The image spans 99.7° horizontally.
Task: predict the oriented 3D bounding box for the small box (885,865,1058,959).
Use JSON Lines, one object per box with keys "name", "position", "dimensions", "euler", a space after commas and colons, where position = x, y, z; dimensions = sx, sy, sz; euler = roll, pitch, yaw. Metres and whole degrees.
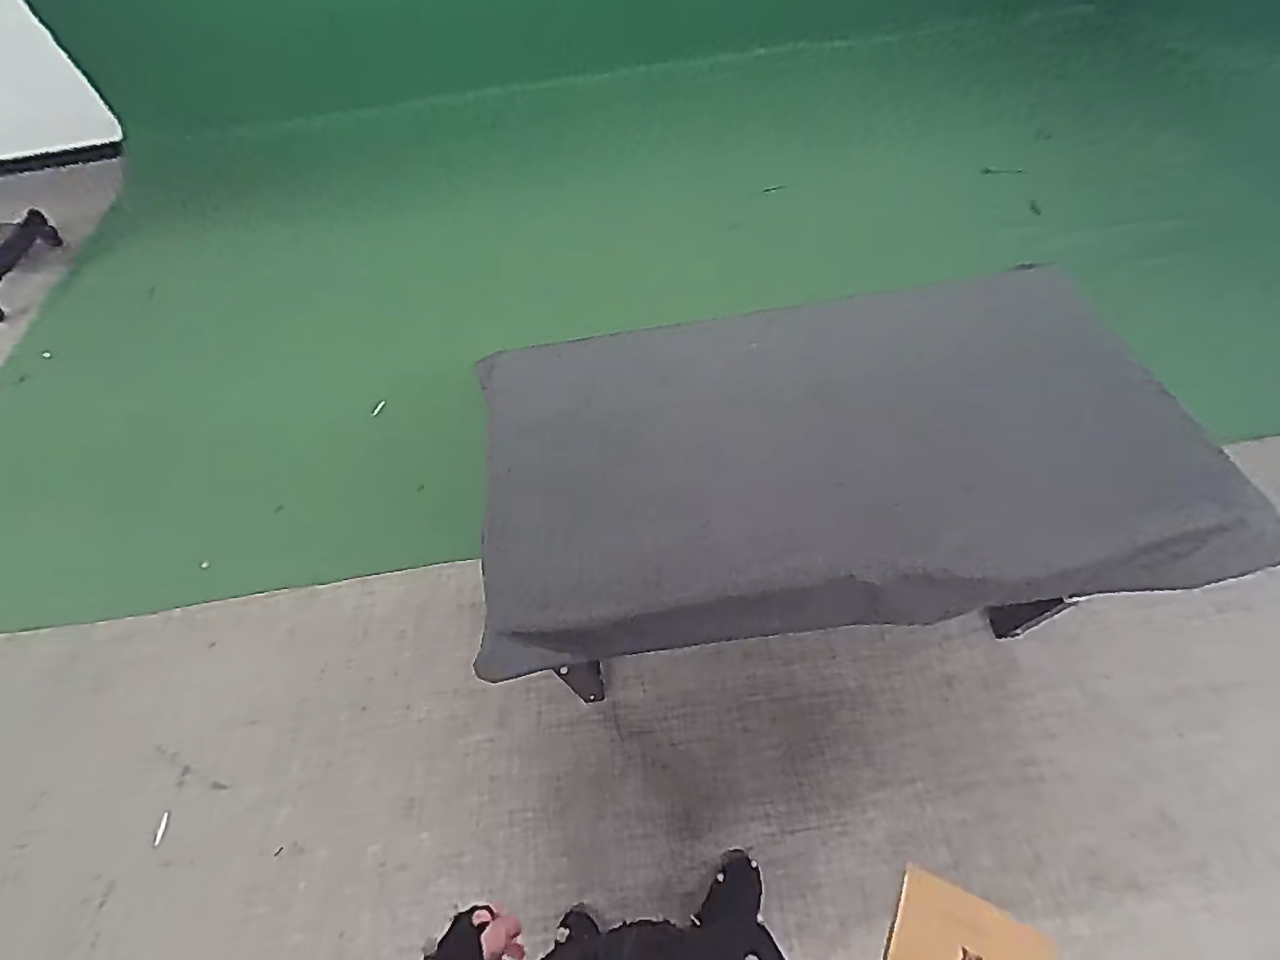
{"name": "small box", "position": [0.385, 0.636, 0.652], "dimensions": [0.168, 0.176, 0.179], "euler": [14, 23, 31]}
